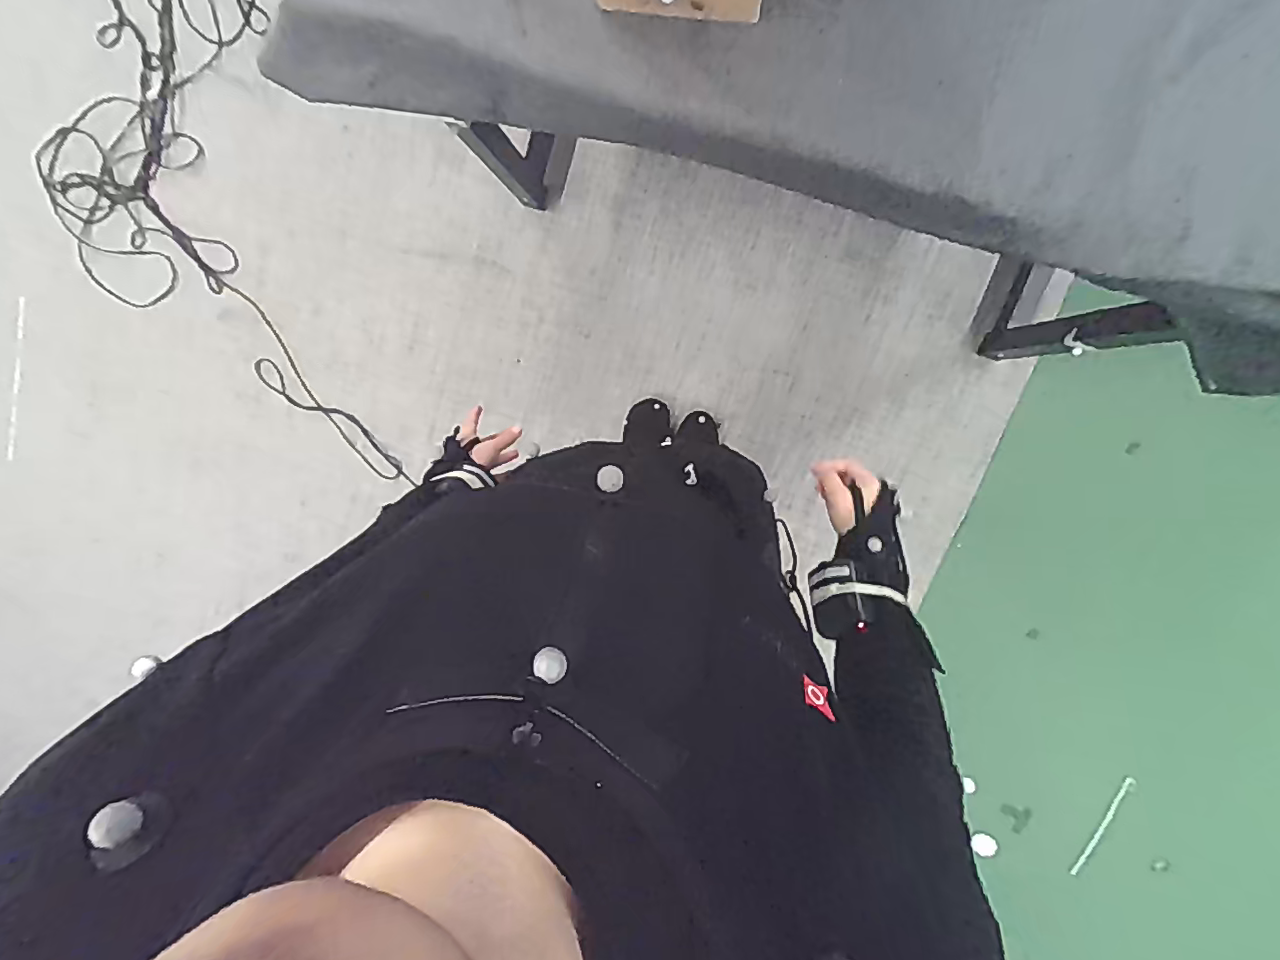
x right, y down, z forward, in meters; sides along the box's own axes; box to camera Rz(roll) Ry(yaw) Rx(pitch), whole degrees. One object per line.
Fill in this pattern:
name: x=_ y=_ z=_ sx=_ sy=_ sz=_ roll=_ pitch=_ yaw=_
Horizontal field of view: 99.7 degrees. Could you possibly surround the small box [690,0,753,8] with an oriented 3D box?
small box: x=0.043 y=-0.554 z=0.450 sx=0.168 sy=0.176 sz=0.179 roll=9 pitch=102 yaw=4
